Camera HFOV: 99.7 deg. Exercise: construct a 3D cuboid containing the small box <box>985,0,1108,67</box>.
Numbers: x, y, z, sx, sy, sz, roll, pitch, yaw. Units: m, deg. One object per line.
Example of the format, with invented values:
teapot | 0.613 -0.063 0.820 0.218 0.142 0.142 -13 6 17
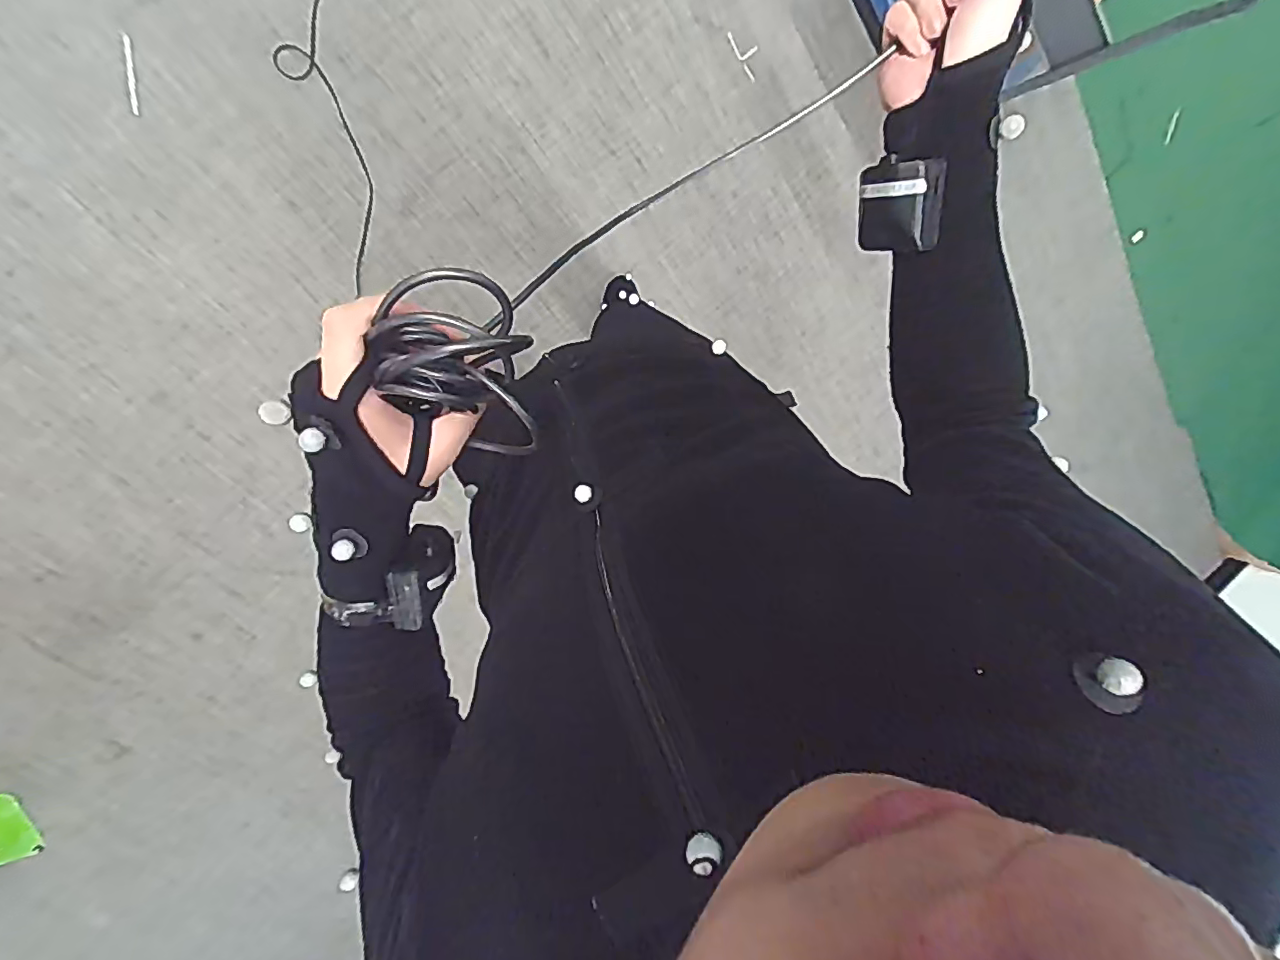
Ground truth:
small box | 1.038 -1.221 1.386 0.179 0.176 0.168 -43 112 -1
